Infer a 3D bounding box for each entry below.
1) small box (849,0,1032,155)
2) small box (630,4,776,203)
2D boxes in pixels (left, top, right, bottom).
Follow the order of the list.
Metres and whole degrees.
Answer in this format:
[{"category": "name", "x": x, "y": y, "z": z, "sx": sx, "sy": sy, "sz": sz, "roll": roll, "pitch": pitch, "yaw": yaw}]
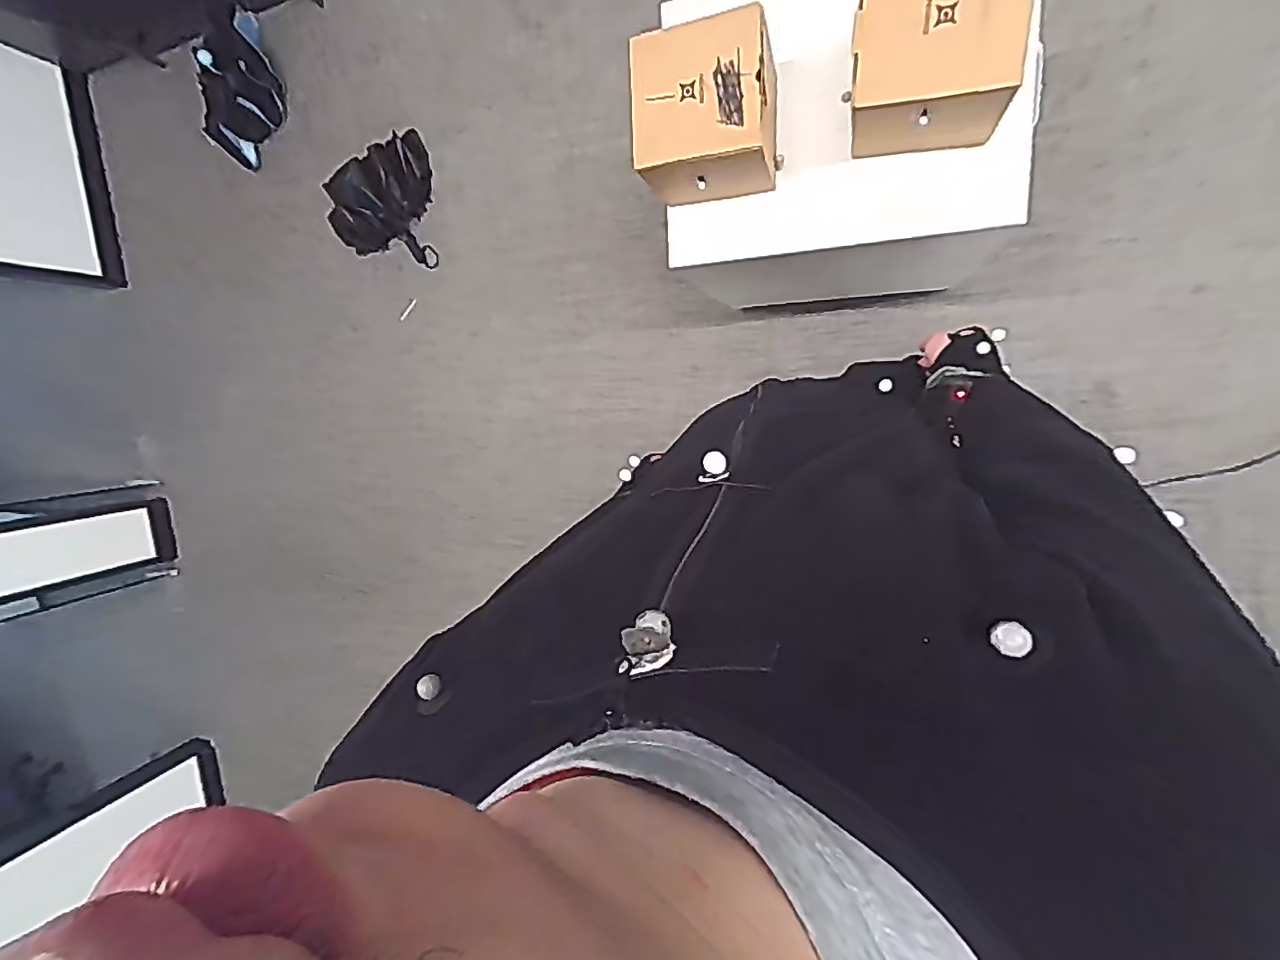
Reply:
[{"category": "small box", "x": 0.361, "y": -0.527, "z": 0.672, "sx": 0.179, "sy": 0.176, "sz": 0.168, "roll": 5, "pitch": 103, "yaw": 20}, {"category": "small box", "x": 0.097, "y": -0.515, "z": 0.772, "sx": 0.179, "sy": 0.176, "sz": 0.168, "roll": 2, "pitch": 100, "yaw": 21}]
